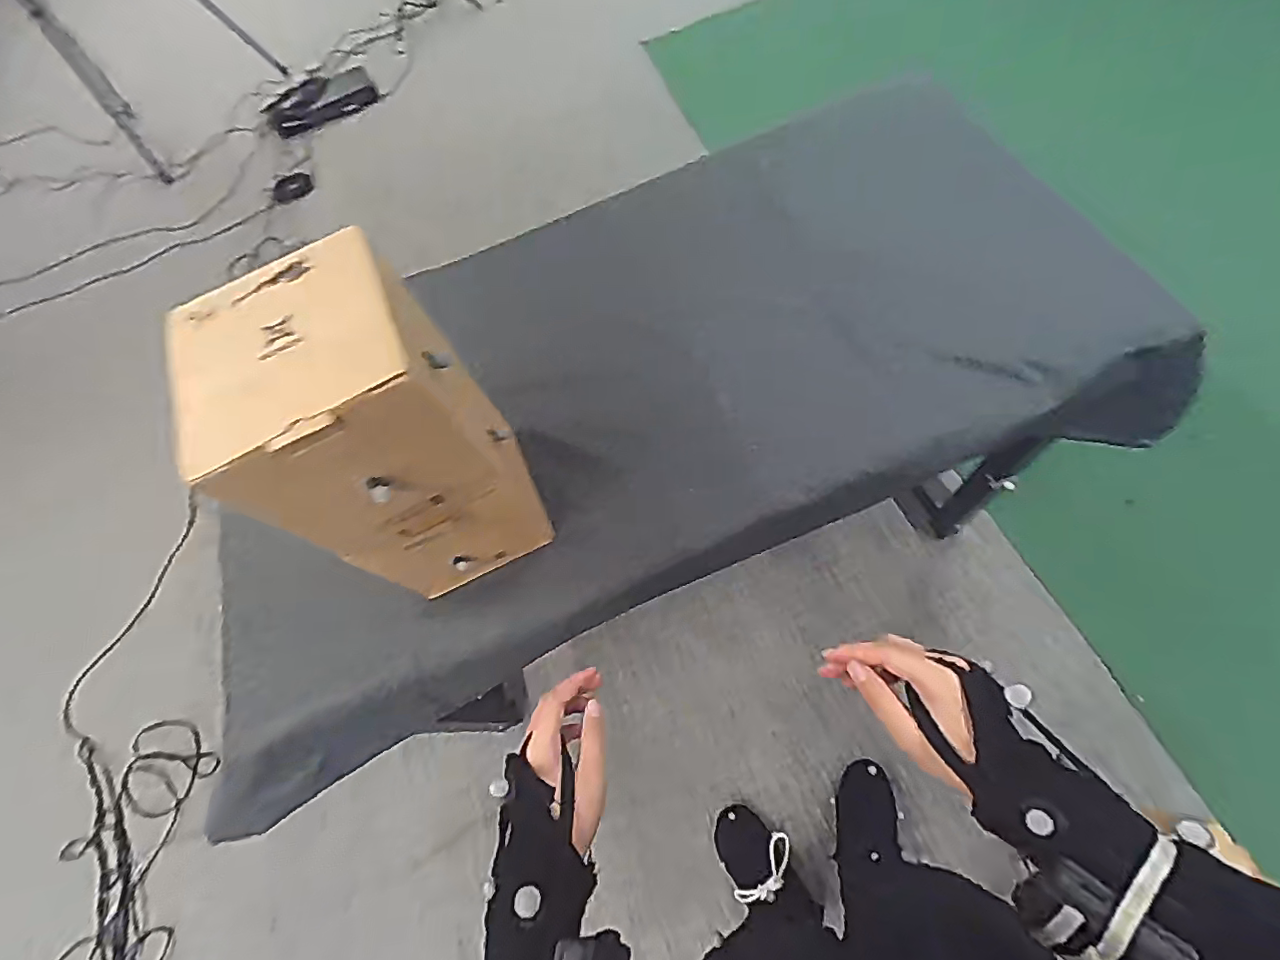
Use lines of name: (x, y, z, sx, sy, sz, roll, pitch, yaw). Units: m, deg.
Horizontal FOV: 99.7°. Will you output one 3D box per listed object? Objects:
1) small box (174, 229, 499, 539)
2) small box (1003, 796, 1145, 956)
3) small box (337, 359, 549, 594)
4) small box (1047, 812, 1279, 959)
small box: (-0.245, -0.066, 0.466, 0.168, 0.176, 0.179, -27, 64, -3)
small box: (0.778, 0.662, 0.927, 0.179, 0.176, 0.168, -20, 62, 3)
small box: (-0.224, 0.004, 0.613, 0.168, 0.176, 0.179, -26, 63, -3)
small box: (0.749, 0.600, 0.778, 0.179, 0.176, 0.168, -20, 62, 2)
